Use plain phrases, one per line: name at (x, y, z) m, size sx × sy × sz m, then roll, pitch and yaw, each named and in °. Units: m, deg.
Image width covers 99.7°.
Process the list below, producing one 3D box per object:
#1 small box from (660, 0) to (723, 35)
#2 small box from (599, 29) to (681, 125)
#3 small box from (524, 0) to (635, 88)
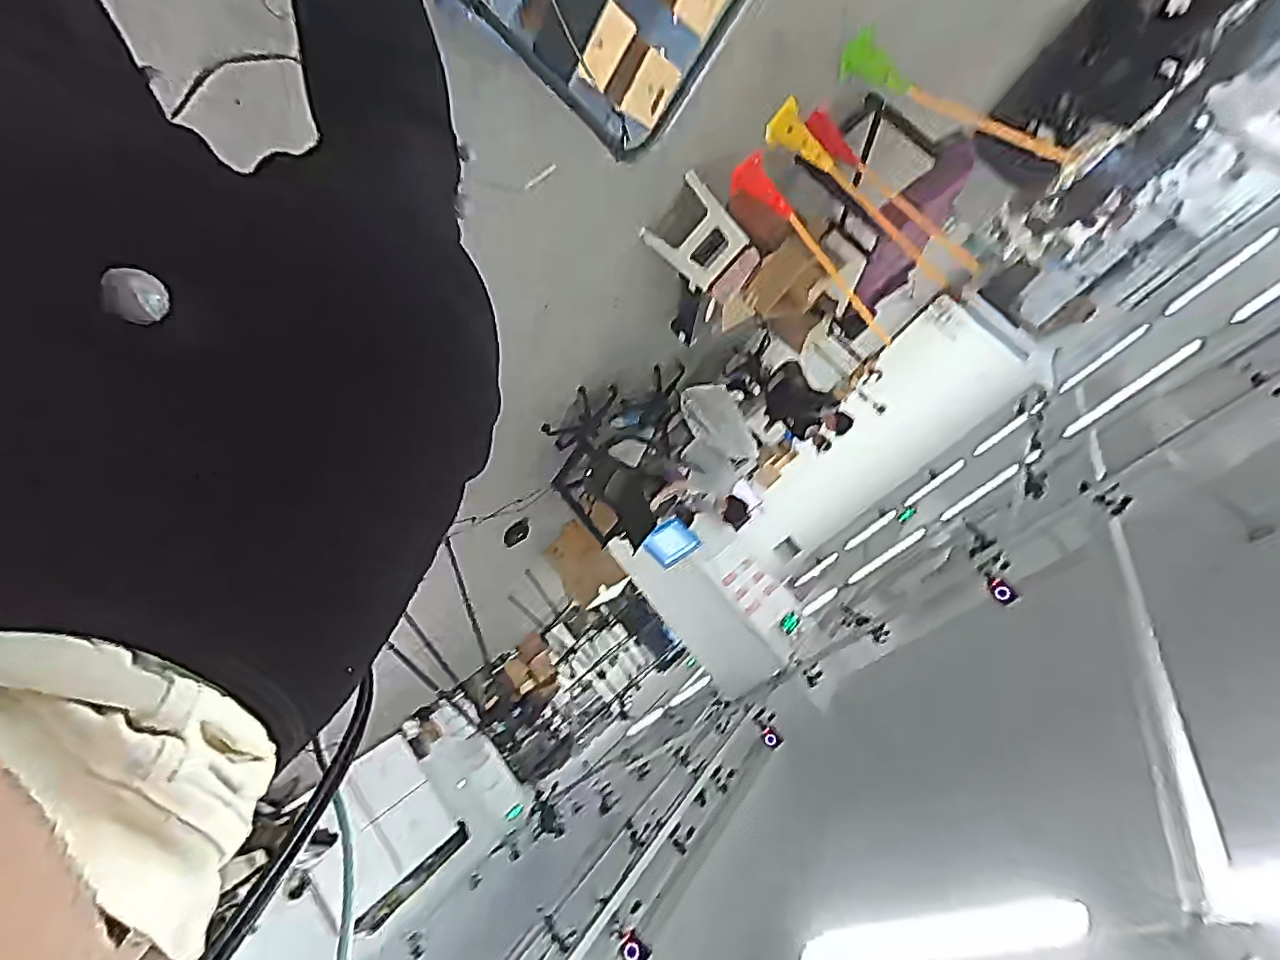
small box at (0.122, -1.348, 1.434) m, size 0.179 × 0.176 × 0.168 m, roll -22°, pitch 158°, yaw -53°
small box at (-0.021, -1.184, 1.569) m, size 0.168 × 0.176 × 0.179 m, roll -50°, pitch 163°, yaw 32°
small box at (-0.153, -1.142, 1.352) m, size 0.168 × 0.176 × 0.179 m, roll -48°, pitch 164°, yaw 29°
